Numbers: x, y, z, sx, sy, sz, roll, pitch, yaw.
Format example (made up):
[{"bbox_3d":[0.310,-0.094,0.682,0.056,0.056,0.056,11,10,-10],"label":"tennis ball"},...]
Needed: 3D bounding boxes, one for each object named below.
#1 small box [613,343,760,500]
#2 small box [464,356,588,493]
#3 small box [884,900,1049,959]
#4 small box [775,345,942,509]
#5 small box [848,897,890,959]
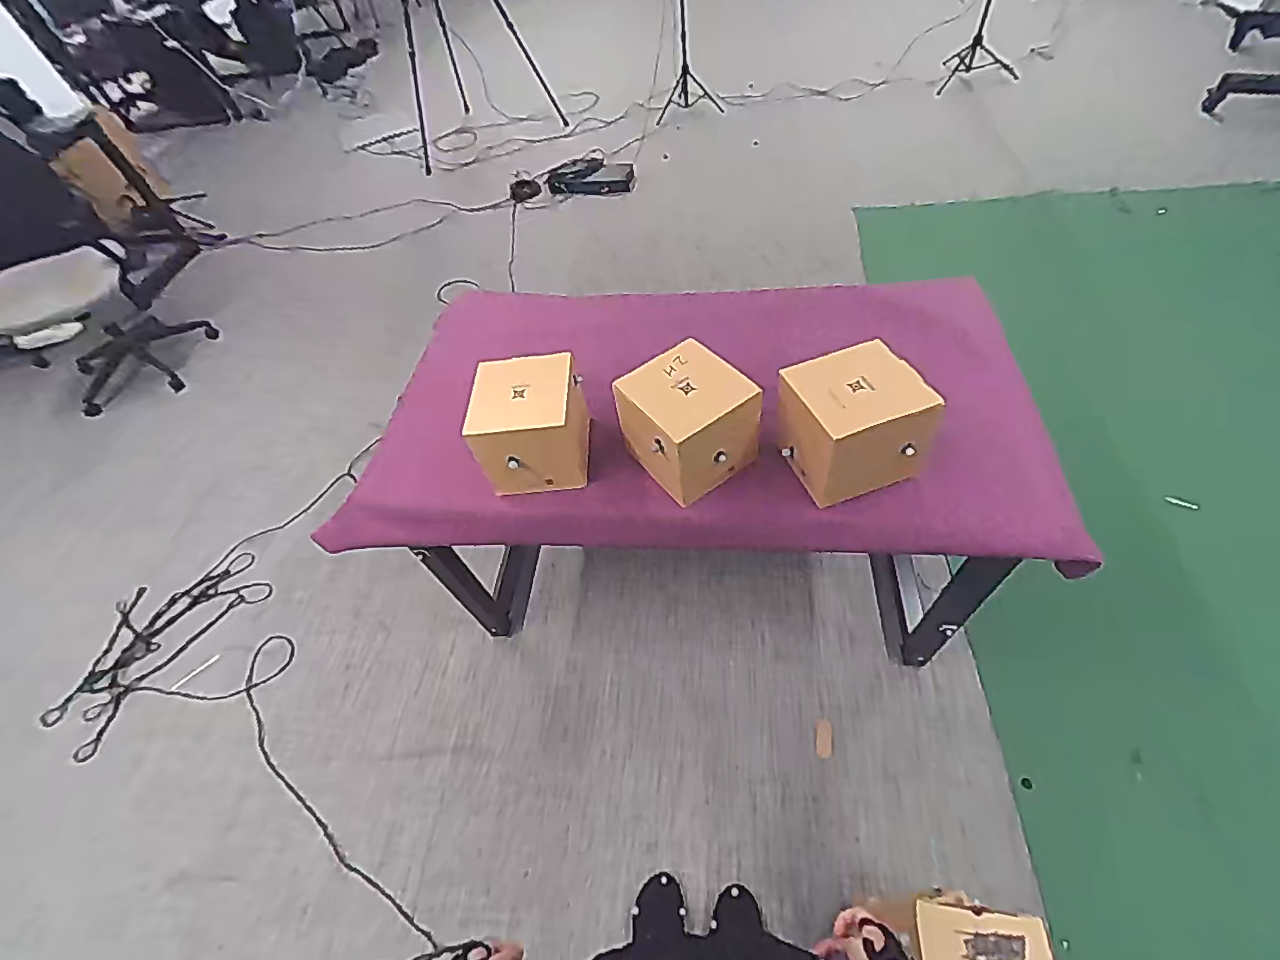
[{"bbox_3d":[0.079,-0.090,0.905,0.168,0.176,0.179,-32,55,-16],"label":"small box"},{"bbox_3d":[-0.187,-0.089,0.945,0.168,0.176,0.179,-5,51,4],"label":"small box"},{"bbox_3d":[0.455,0.710,0.755,0.168,0.176,0.179,3,55,9],"label":"small box"},{"bbox_3d":[0.332,-0.082,0.864,0.179,0.176,0.168,-18,51,-5],"label":"small box"},{"bbox_3d":[0.492,0.911,1.012,0.179,0.176,0.168,9,56,15],"label":"small box"}]
